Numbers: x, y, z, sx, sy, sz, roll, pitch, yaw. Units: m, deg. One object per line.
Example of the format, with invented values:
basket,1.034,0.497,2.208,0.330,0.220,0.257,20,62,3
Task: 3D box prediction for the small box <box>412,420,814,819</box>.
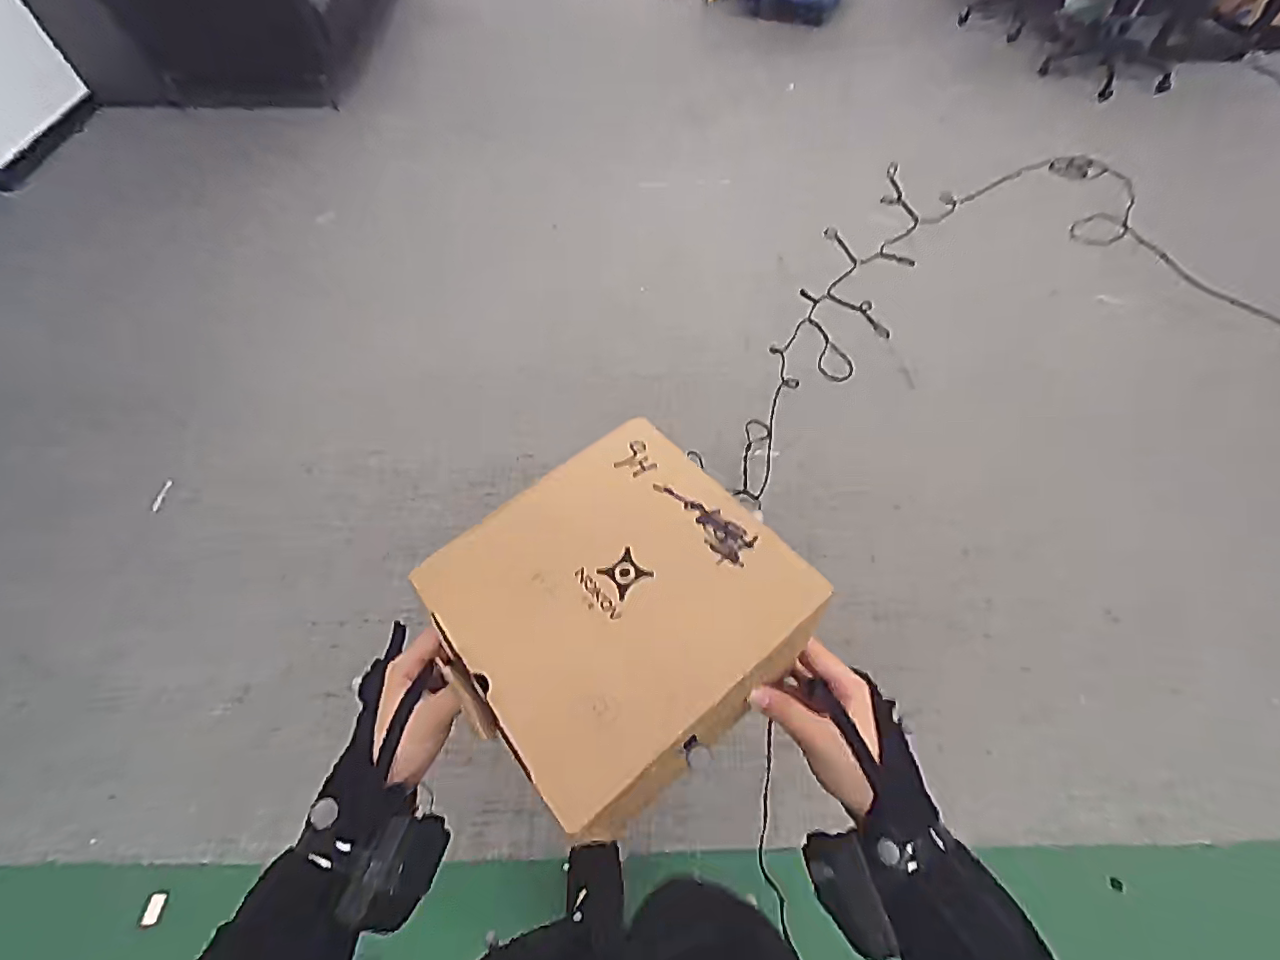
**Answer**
small box,-0.012,0.100,0.369,0.179,0.176,0.168,-36,60,-17
